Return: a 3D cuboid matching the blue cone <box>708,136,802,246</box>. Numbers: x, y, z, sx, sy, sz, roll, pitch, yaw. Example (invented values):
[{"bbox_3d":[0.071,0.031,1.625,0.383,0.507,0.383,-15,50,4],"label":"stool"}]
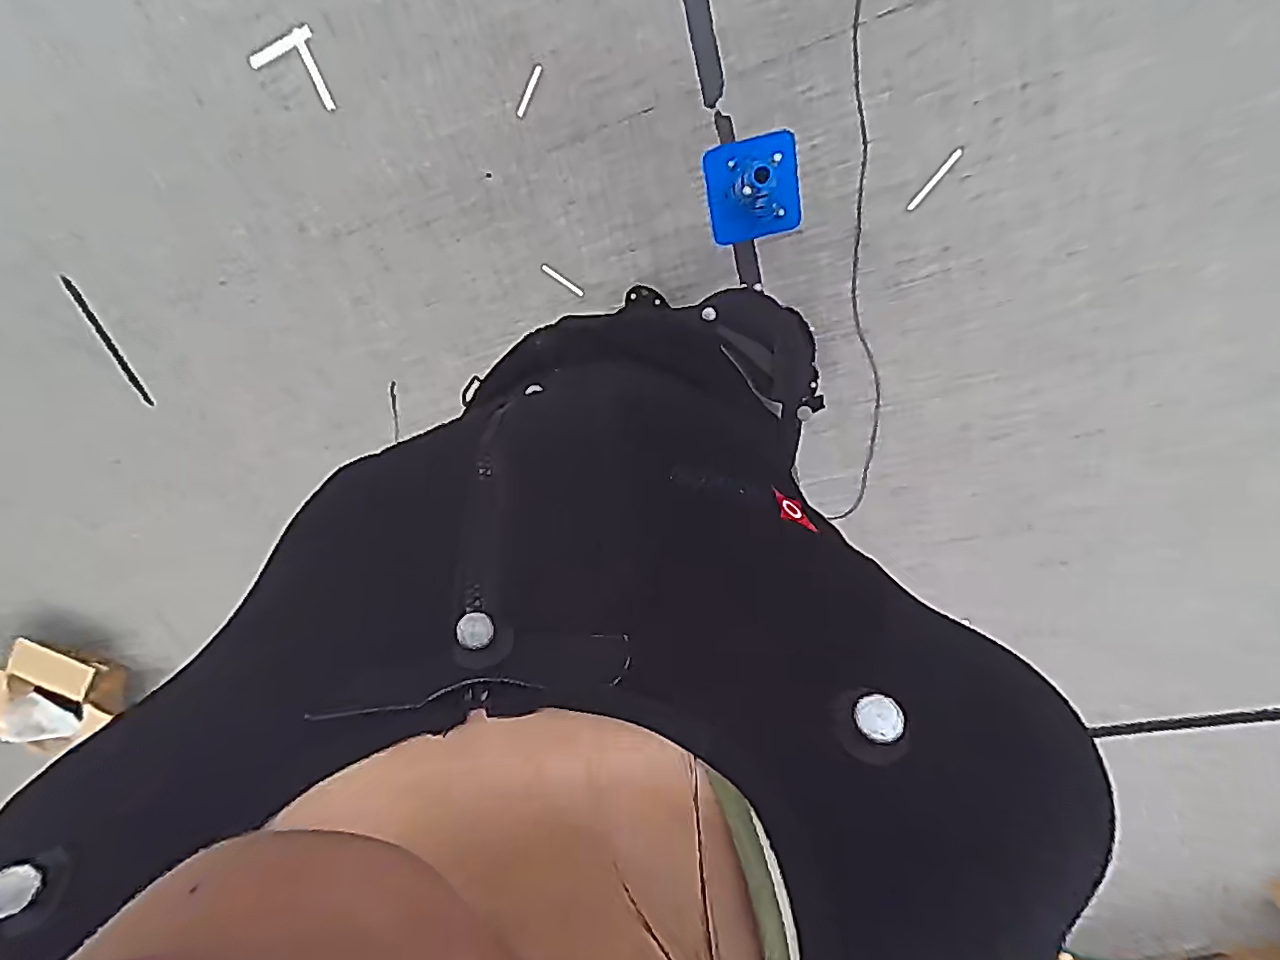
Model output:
[{"bbox_3d":[0.231,-0.570,1.043,0.193,0.380,0.192,-10,112,12],"label":"blue cone"}]
